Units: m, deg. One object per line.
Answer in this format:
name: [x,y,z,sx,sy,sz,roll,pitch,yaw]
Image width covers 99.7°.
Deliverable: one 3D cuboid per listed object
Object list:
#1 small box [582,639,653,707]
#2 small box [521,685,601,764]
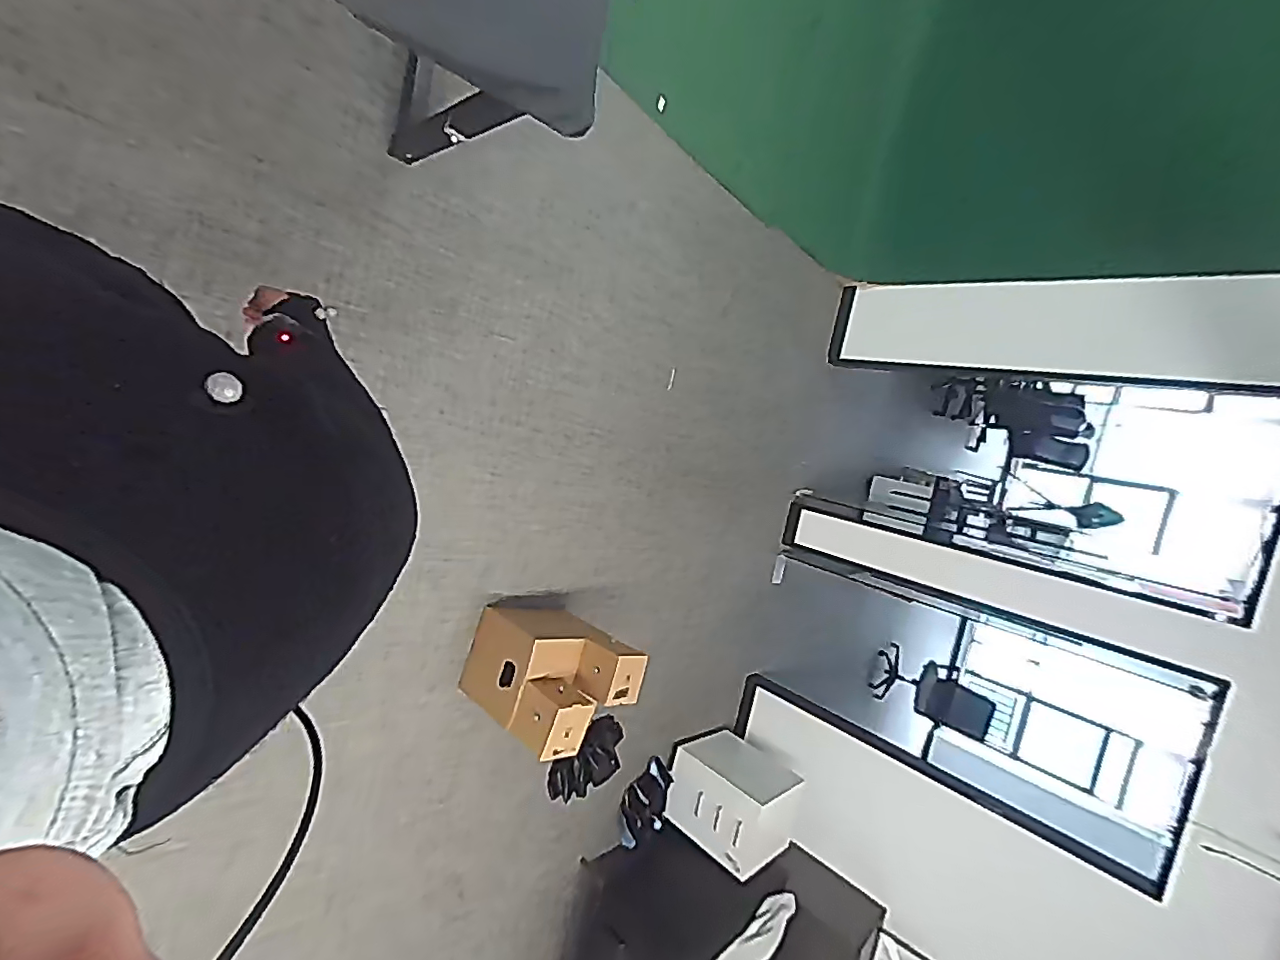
small box: [-0.083,0.679,1.912,0.168,0.176,0.179,20,82,-49]
small box: [-0.258,0.776,1.742,0.168,0.176,0.179,20,87,-50]
